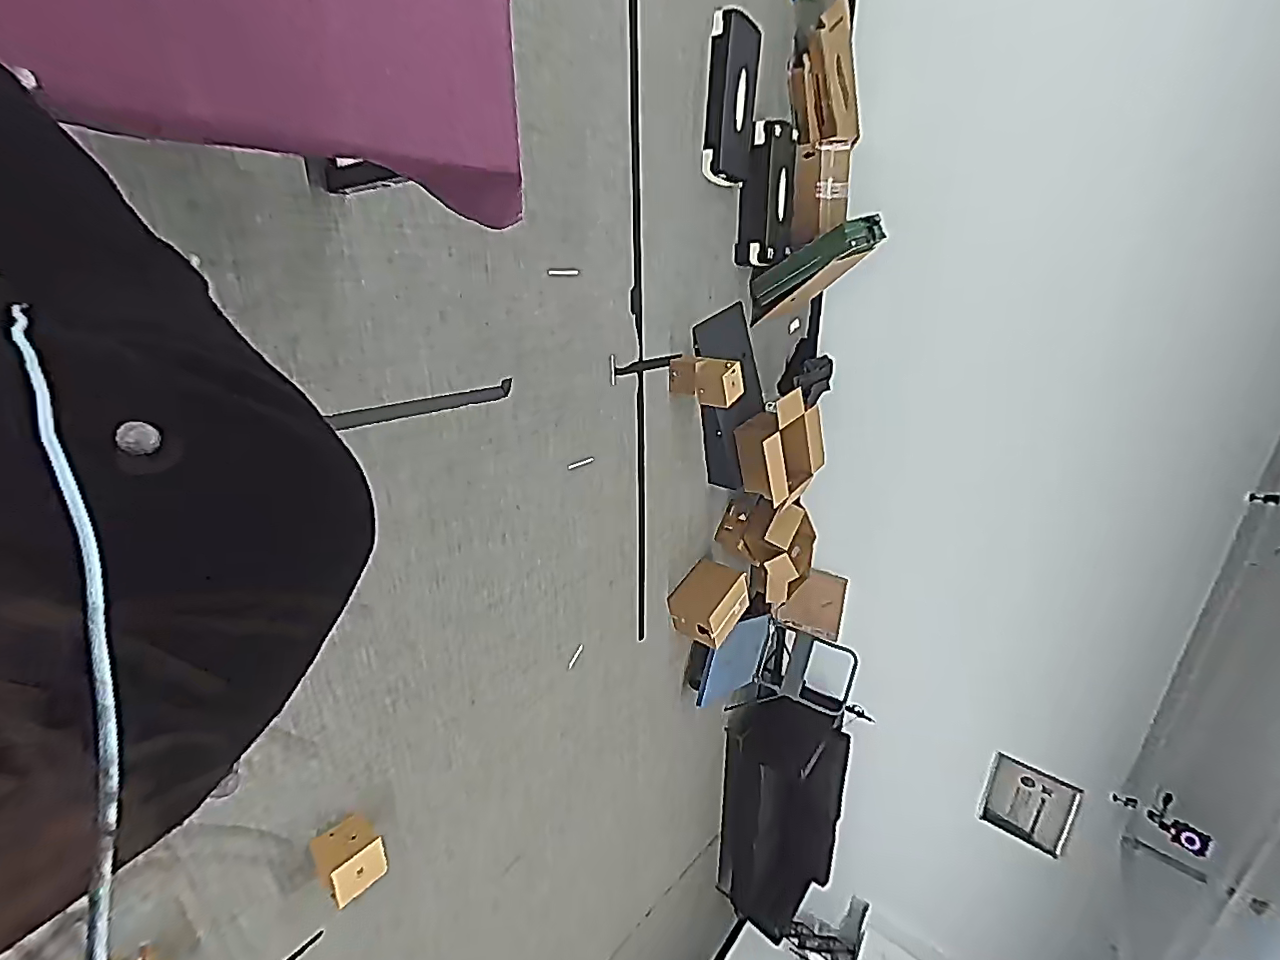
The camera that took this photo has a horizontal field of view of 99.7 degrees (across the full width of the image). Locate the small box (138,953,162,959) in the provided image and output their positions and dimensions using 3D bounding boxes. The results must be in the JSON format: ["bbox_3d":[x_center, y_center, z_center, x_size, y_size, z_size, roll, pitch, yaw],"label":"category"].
[{"bbox_3d":[-1.368,1.436,1.452,0.168,0.176,0.179,-20,119,-47],"label":"small box"}]

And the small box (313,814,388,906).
[{"bbox_3d":[-1.005,1.305,1.876,0.168,0.176,0.179,-23,122,-47],"label":"small box"}]
